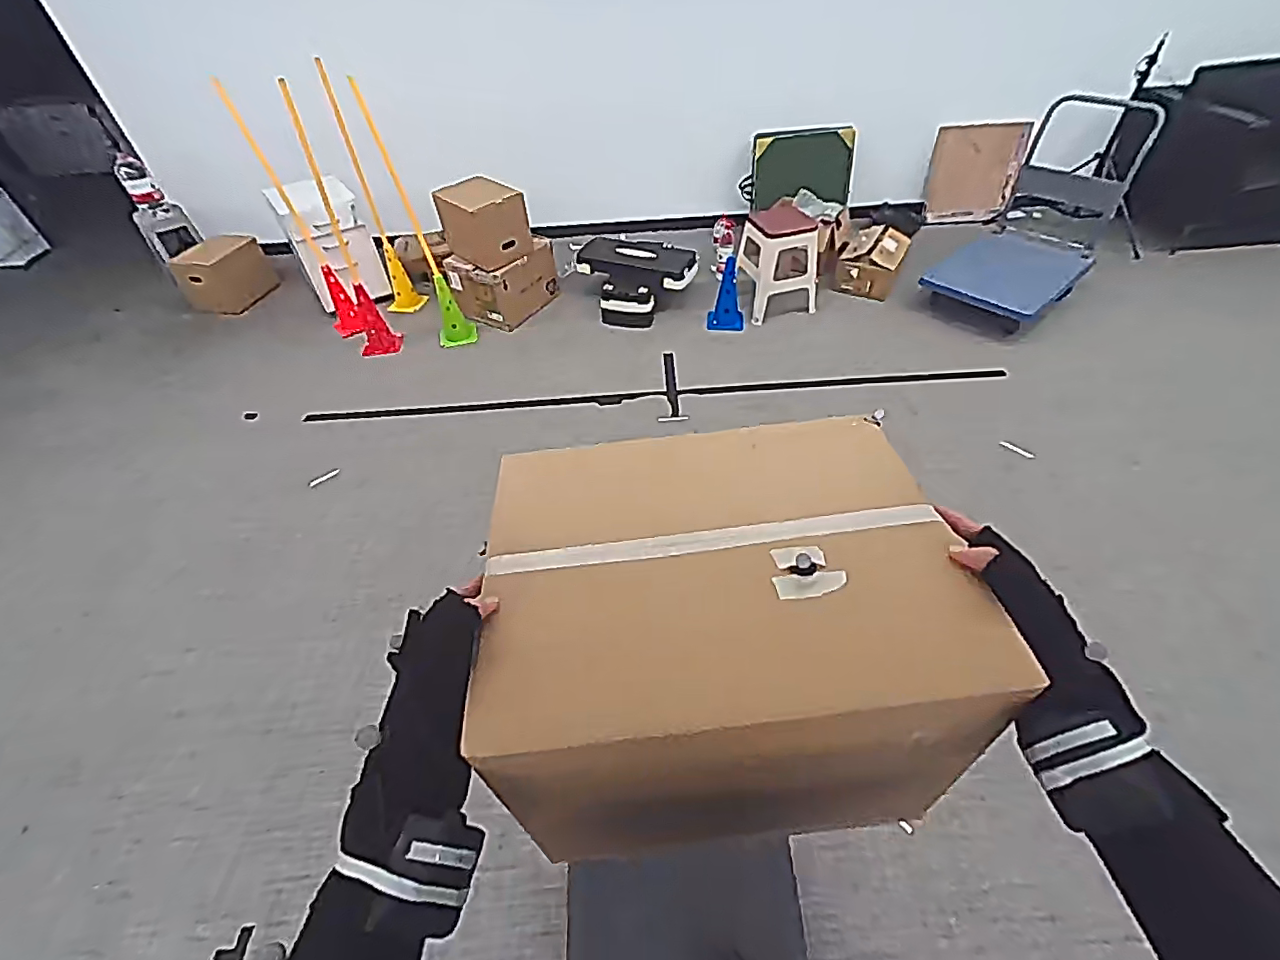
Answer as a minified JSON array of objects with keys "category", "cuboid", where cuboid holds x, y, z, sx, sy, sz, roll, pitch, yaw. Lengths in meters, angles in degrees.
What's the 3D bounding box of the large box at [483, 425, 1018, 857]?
[{"category":"large box","cuboid":[0.077,0.174,0.597,0.408,0.320,0.320,-7,44,-1]}]
